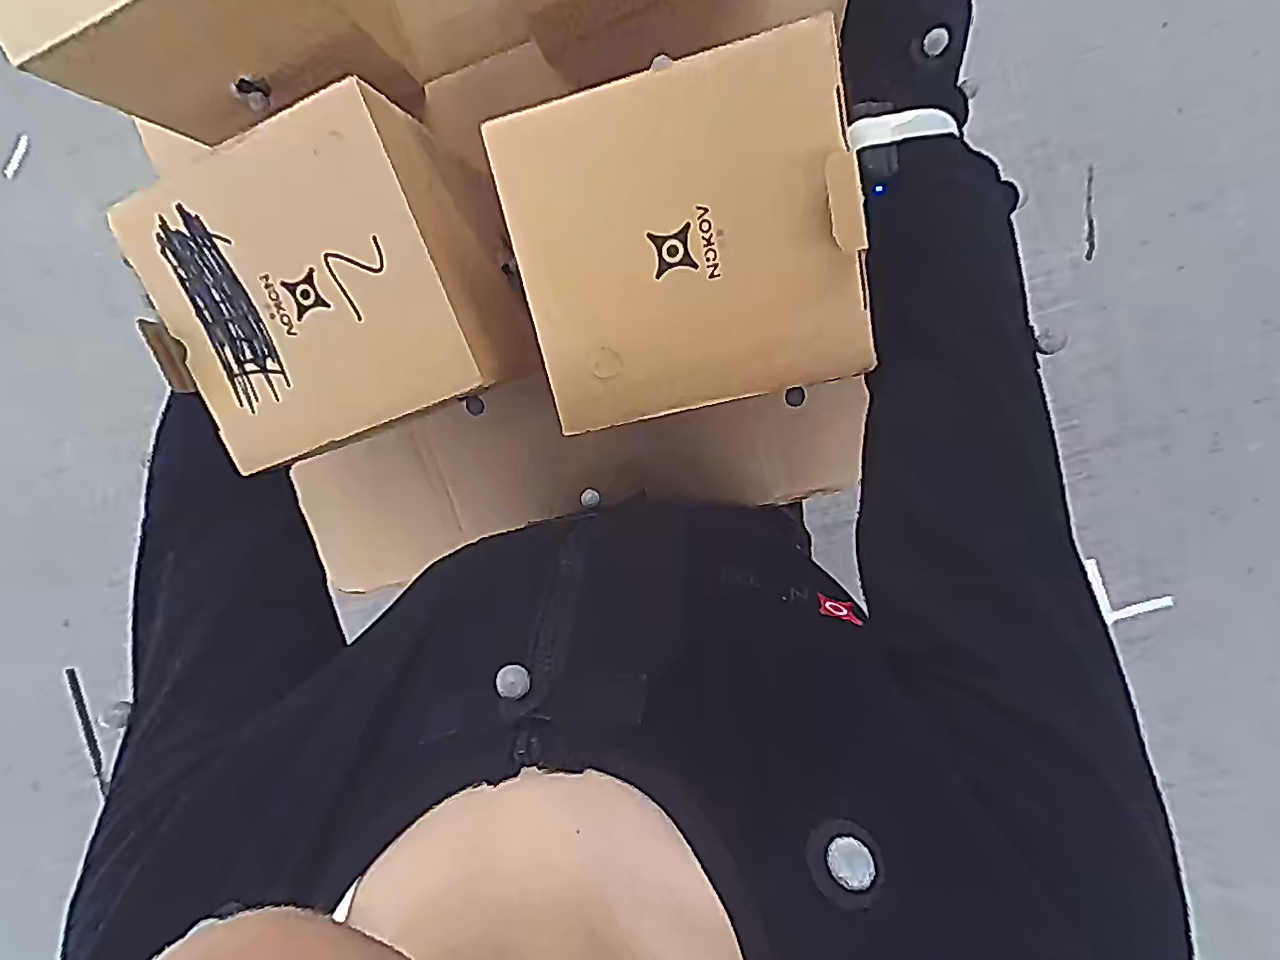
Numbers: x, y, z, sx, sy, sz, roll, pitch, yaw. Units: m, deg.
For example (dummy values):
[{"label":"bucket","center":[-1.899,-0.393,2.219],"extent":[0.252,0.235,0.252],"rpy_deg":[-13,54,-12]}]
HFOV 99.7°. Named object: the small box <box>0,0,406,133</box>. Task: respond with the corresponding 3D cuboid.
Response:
[{"label":"small box","center":[-0.284,-0.354,0.343],"extent":[0.168,0.176,0.179],"rpy_deg":[-15,101,10]}]
